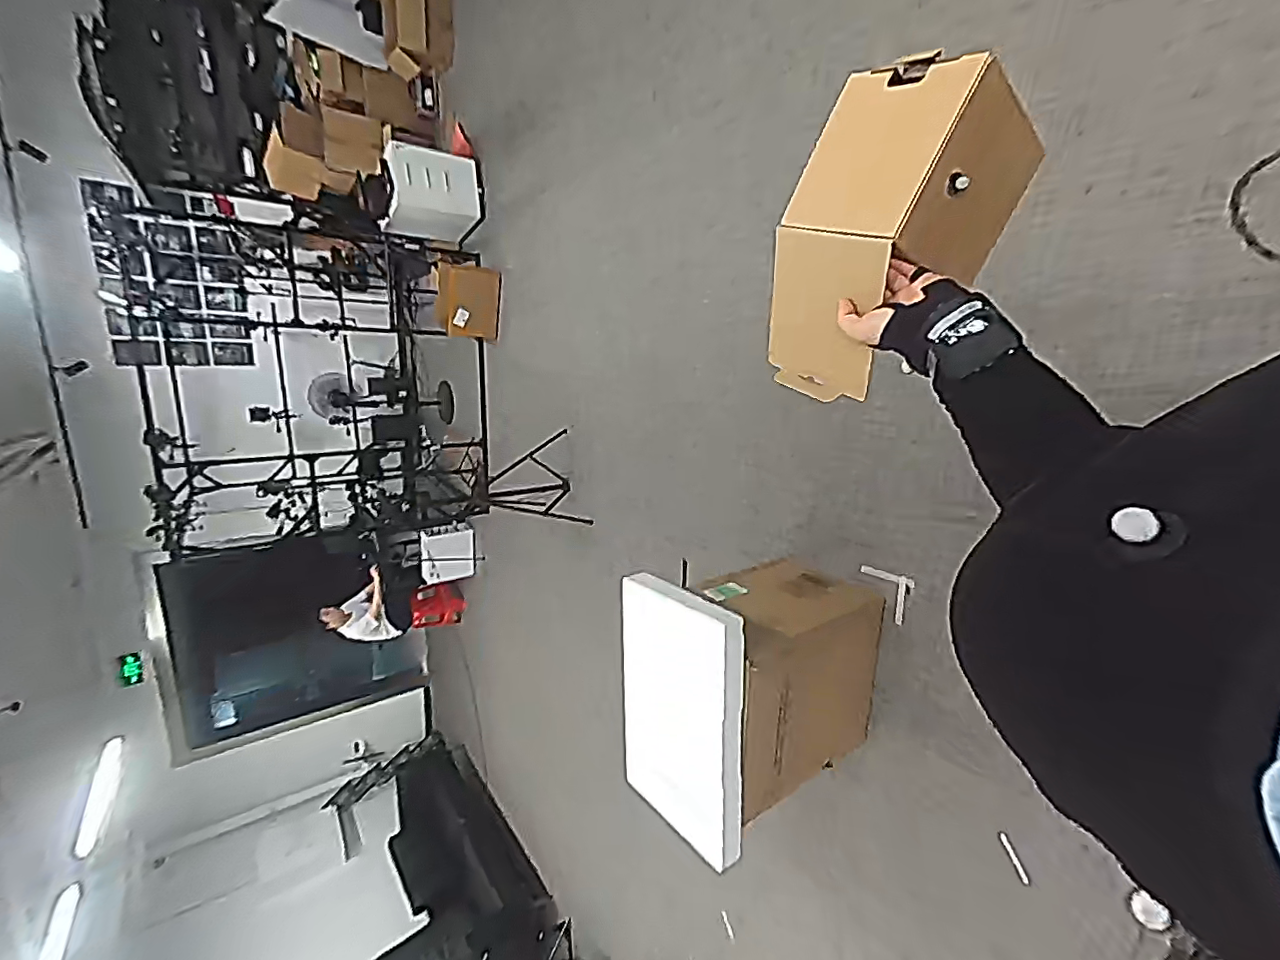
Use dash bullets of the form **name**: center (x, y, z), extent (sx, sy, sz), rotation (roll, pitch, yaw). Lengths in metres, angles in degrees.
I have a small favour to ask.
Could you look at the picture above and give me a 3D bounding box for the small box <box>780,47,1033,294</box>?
- **small box**: center (0.302, -0.336, 0.617), extent (0.168, 0.176, 0.179), rotation (41, 111, 48)
